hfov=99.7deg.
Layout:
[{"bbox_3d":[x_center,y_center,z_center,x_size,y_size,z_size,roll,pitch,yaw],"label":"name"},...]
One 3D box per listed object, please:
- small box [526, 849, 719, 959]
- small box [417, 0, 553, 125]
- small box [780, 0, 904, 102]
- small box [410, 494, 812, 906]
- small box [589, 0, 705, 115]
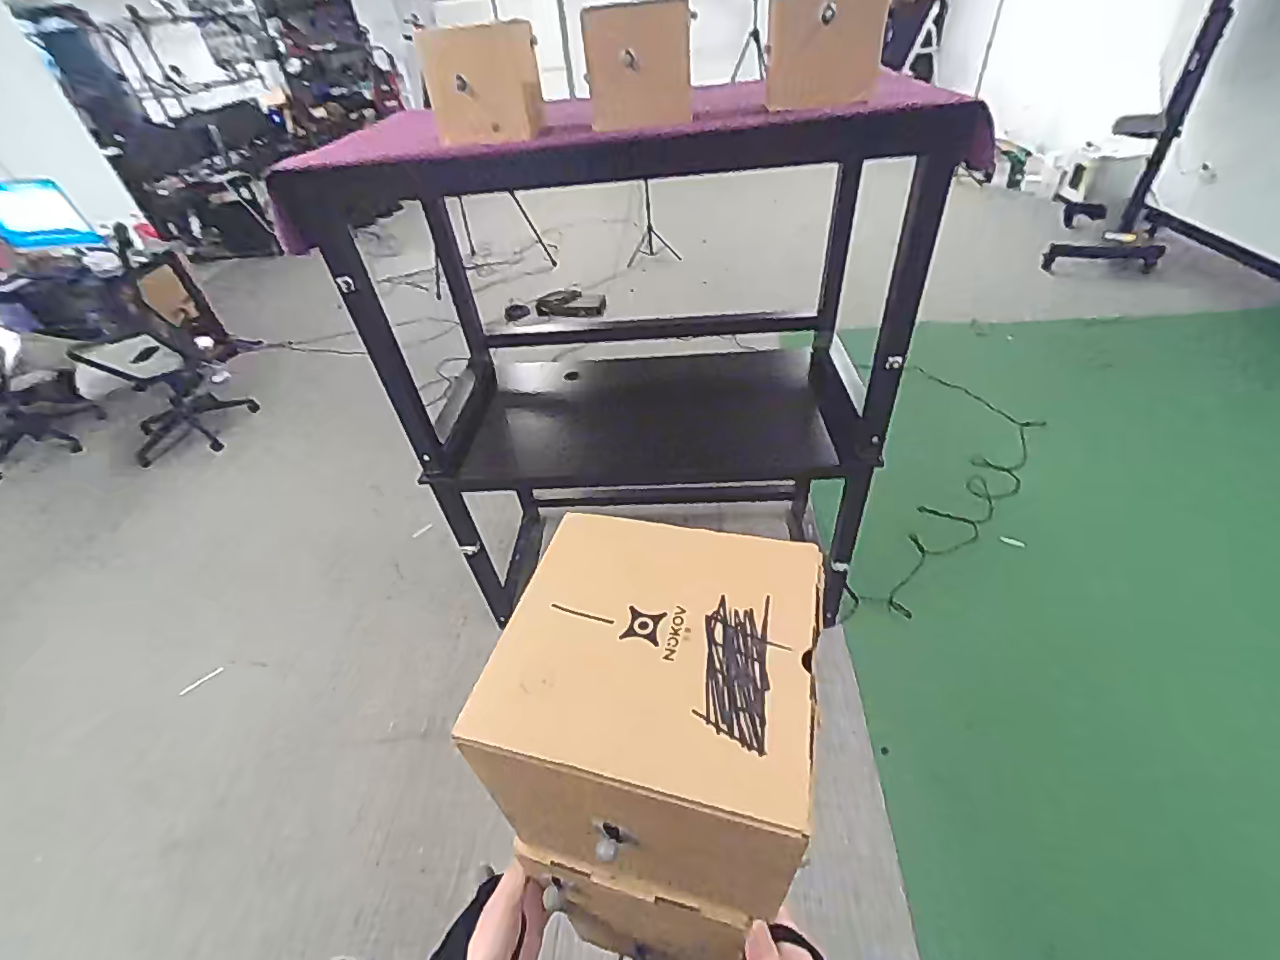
[{"bbox_3d":[0.006,0.379,0.564,0.168,0.176,0.179,10,43,15],"label":"small box"},{"bbox_3d":[-0.258,-0.734,0.950,0.168,0.176,0.179,-1,40,5],"label":"small box"},{"bbox_3d":[0.328,-0.746,0.902,0.179,0.176,0.168,2,42,9],"label":"small box"},{"bbox_3d":[0.001,0.136,0.342,0.179,0.176,0.168,9,43,15],"label":"small box"},{"bbox_3d":[0.020,-0.738,0.924,0.179,0.176,0.168,0,42,7],"label":"small box"}]
